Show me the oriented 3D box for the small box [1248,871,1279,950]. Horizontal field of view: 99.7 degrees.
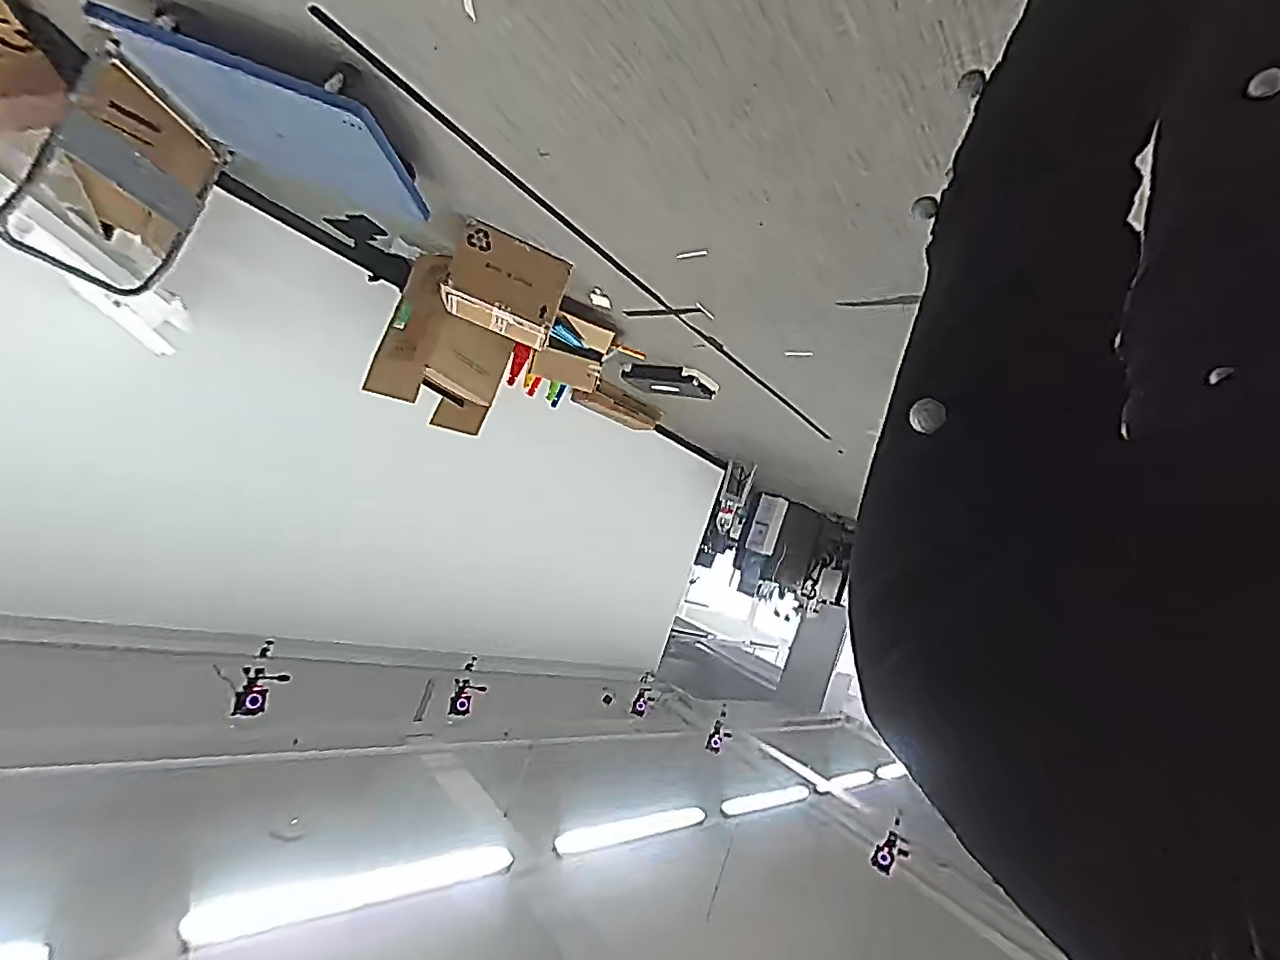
[{"bbox_3d":[1.862,1.243,1.515,0.168,0.176,0.179,23,175,-41],"label":"small box"}]
